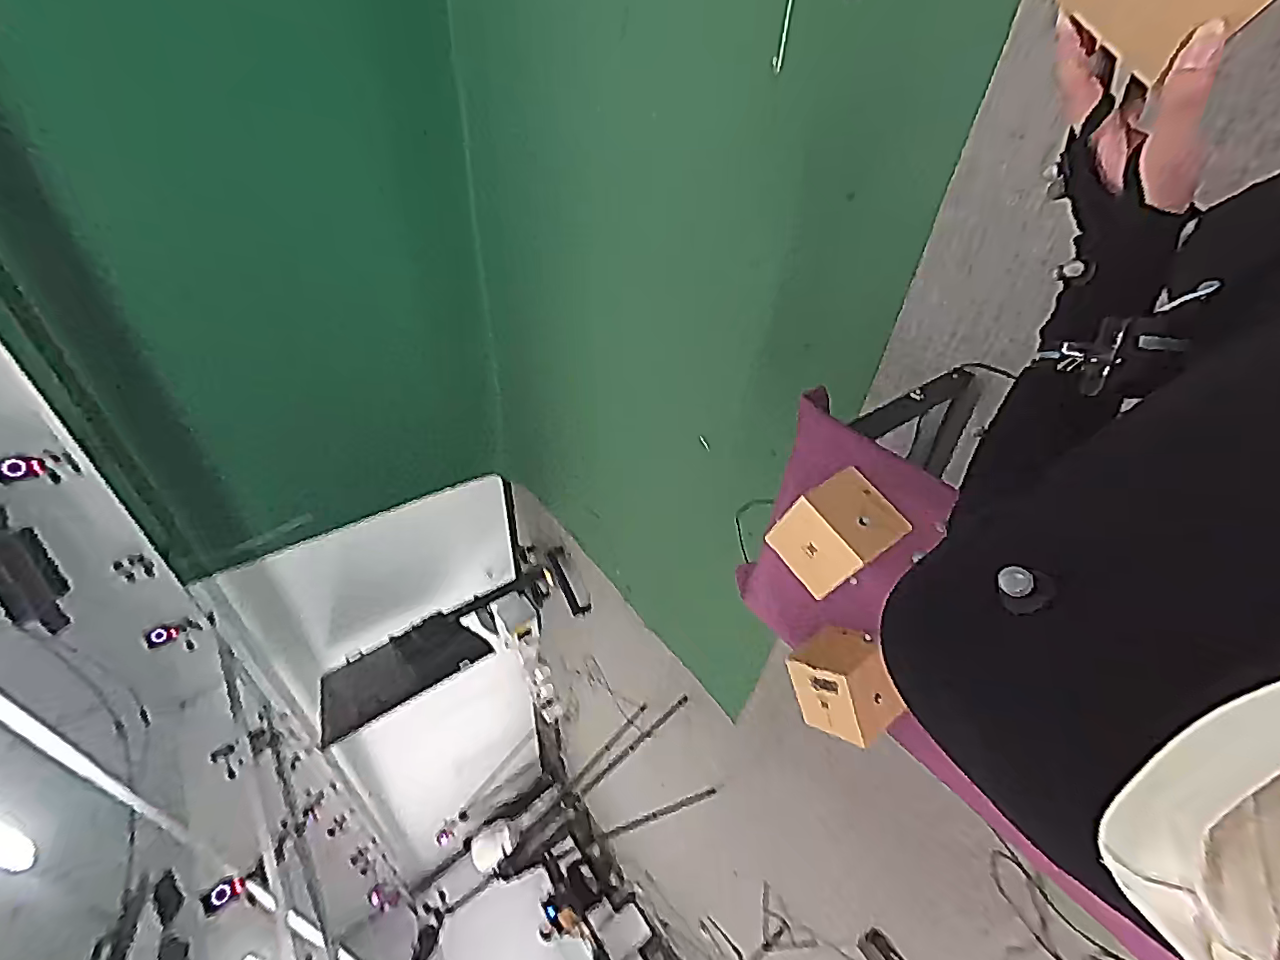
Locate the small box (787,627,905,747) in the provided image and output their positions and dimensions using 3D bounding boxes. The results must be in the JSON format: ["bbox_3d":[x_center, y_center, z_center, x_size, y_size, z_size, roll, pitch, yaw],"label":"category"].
[{"bbox_3d":[0.470,0.458,1.231,0.168,0.176,0.179,-5,107,58],"label":"small box"}]

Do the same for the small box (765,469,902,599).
[{"bbox_3d":[0.396,0.105,1.098,0.168,0.176,0.179,51,148,20],"label":"small box"}]
